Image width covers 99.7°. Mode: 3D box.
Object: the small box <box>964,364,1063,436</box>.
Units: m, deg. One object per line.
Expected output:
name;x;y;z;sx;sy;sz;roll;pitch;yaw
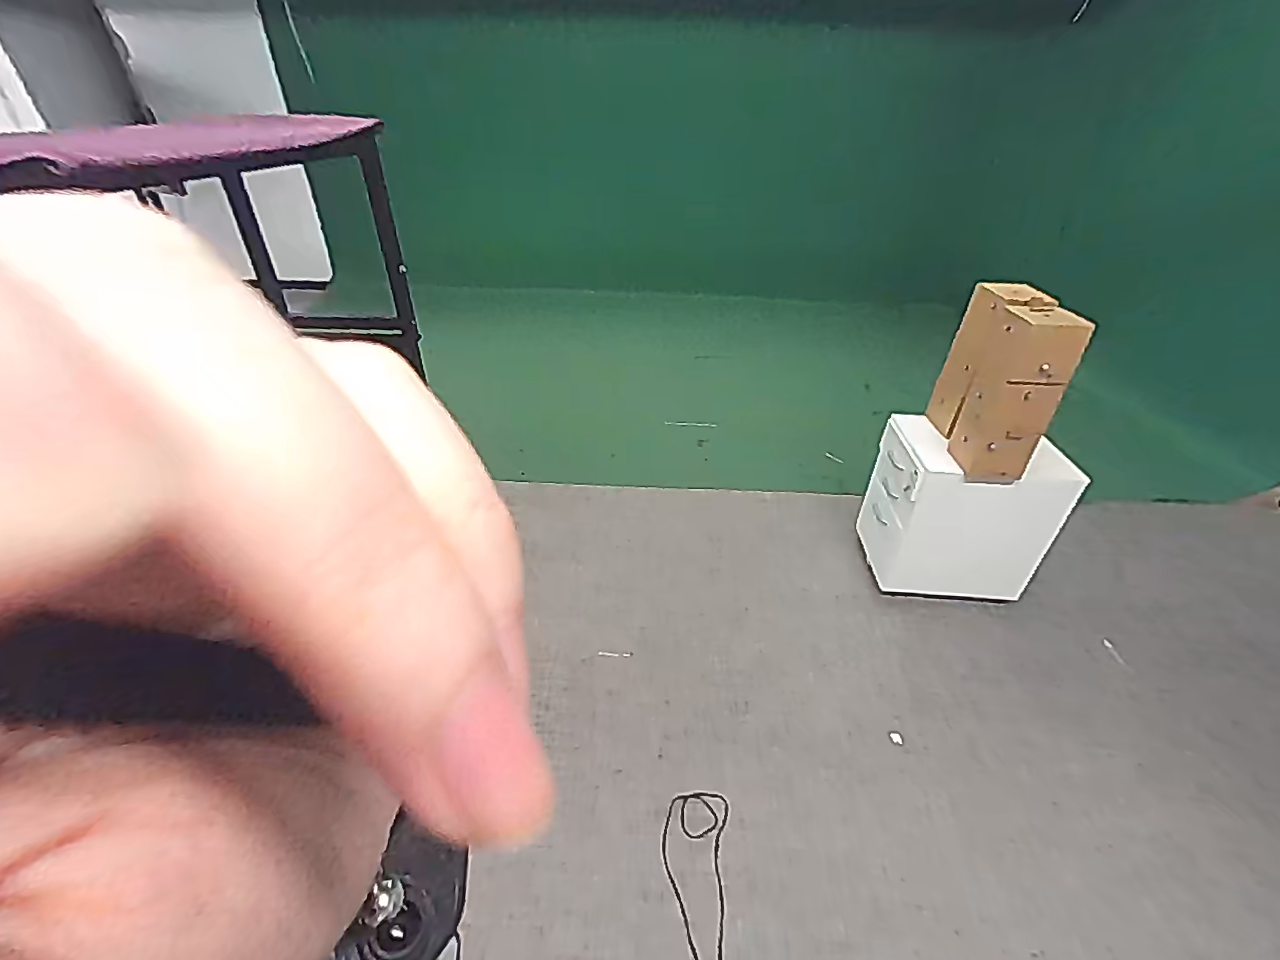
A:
small box;1.122;-0.244;1.647;0.179;0.176;0.168;4;34;2

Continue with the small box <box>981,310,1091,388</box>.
small box;1.122;-0.377;1.551;0.168;0.176;0.179;3;34;2

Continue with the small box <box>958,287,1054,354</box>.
small box;1.177;-0.513;1.757;0.168;0.176;0.179;1;36;-2

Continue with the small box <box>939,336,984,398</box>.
small box;1.167;-0.381;1.851;0.168;0.176;0.179;1;35;-3
